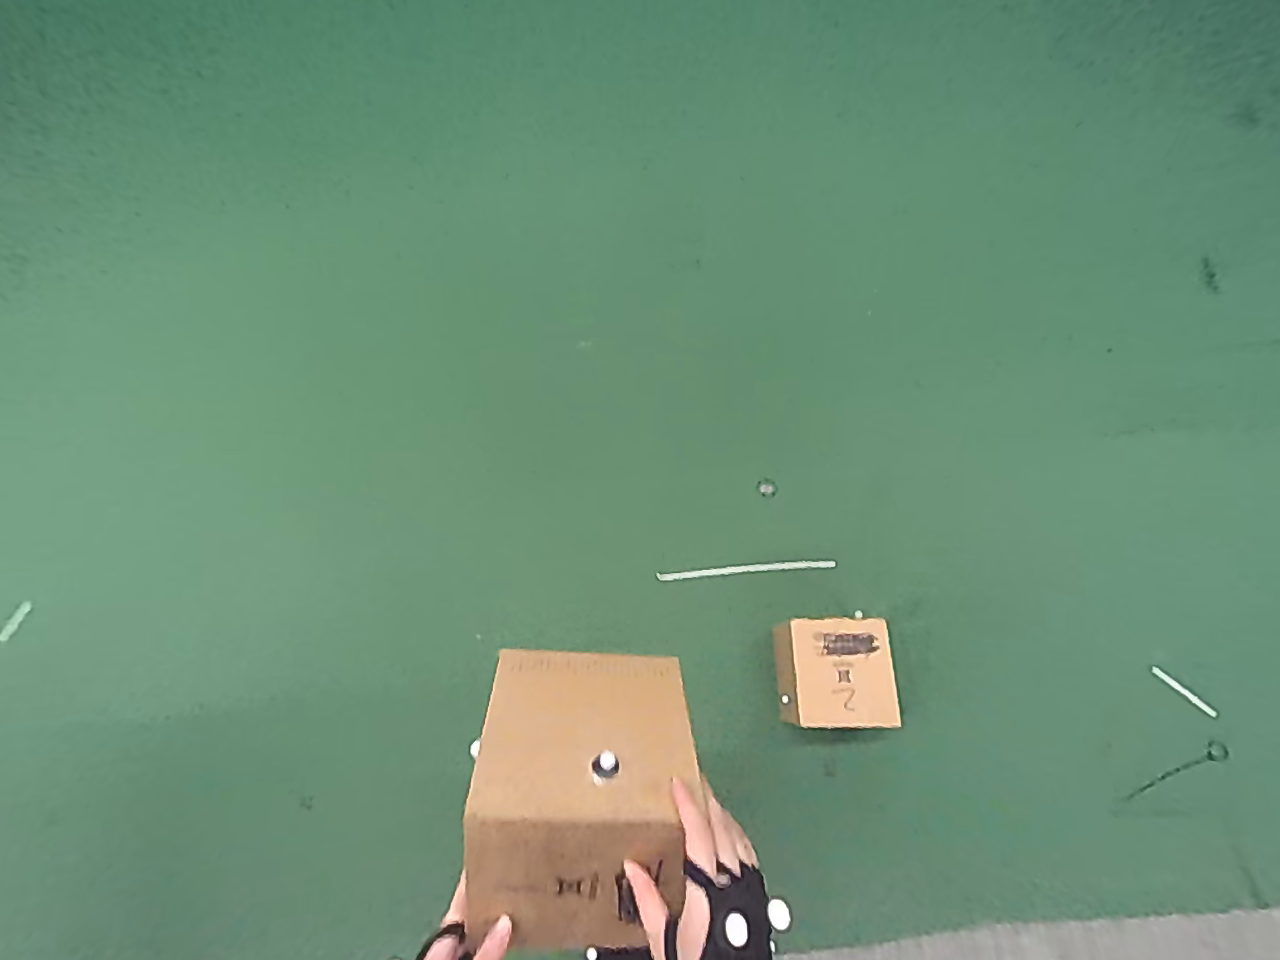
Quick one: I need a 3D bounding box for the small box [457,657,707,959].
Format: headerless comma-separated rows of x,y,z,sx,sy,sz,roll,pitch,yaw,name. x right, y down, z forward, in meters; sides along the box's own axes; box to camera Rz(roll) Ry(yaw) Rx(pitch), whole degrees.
-0.054,0.277,0.477,0.179,0.168,0.176,5,24,-6,small box
